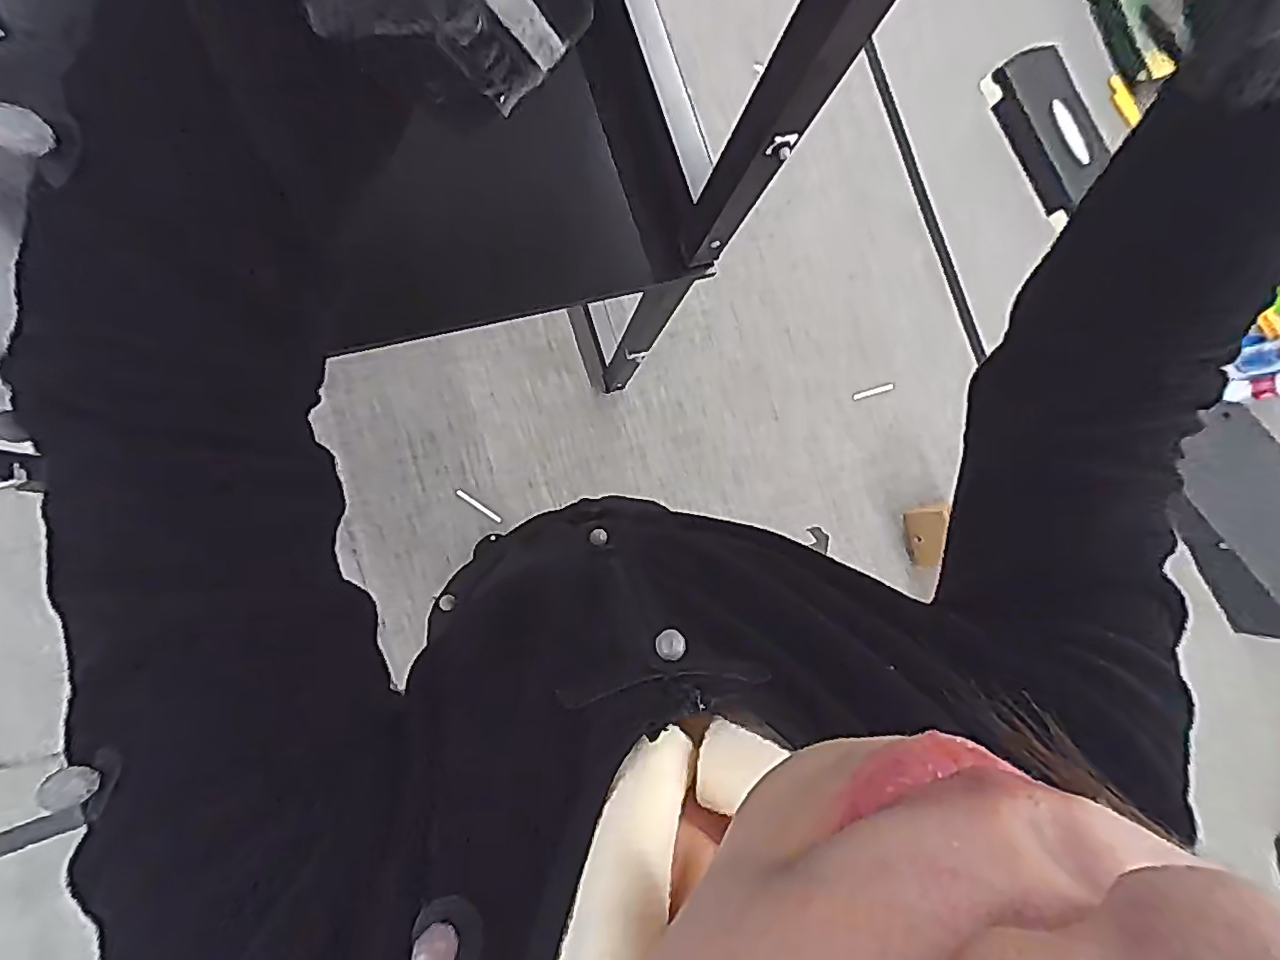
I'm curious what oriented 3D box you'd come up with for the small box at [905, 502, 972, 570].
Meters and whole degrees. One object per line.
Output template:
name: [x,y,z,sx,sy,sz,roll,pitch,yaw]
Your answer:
small box: [0.948,0.165,1.651,0.168,0.176,0.179,-12,88,-14]
